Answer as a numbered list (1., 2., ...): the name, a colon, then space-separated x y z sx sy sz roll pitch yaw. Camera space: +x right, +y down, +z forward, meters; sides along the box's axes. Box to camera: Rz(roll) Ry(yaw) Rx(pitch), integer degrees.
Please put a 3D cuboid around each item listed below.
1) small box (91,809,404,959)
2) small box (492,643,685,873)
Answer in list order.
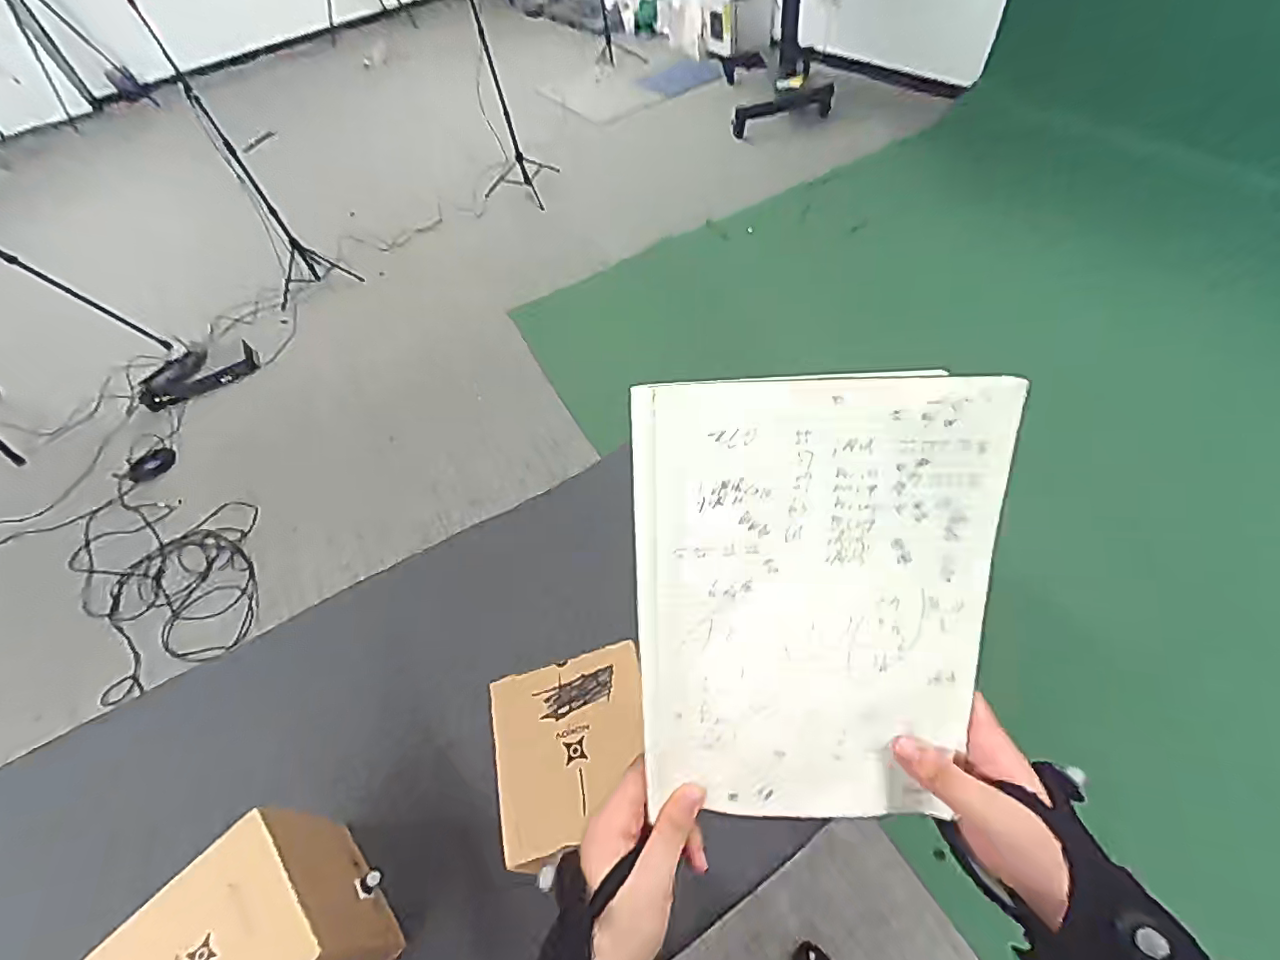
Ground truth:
1. small box: -0.383 0.481 0.549 0.168 0.176 0.179 34 65 30
2. small box: -0.055 0.317 0.612 0.168 0.176 0.179 -17 52 -2
